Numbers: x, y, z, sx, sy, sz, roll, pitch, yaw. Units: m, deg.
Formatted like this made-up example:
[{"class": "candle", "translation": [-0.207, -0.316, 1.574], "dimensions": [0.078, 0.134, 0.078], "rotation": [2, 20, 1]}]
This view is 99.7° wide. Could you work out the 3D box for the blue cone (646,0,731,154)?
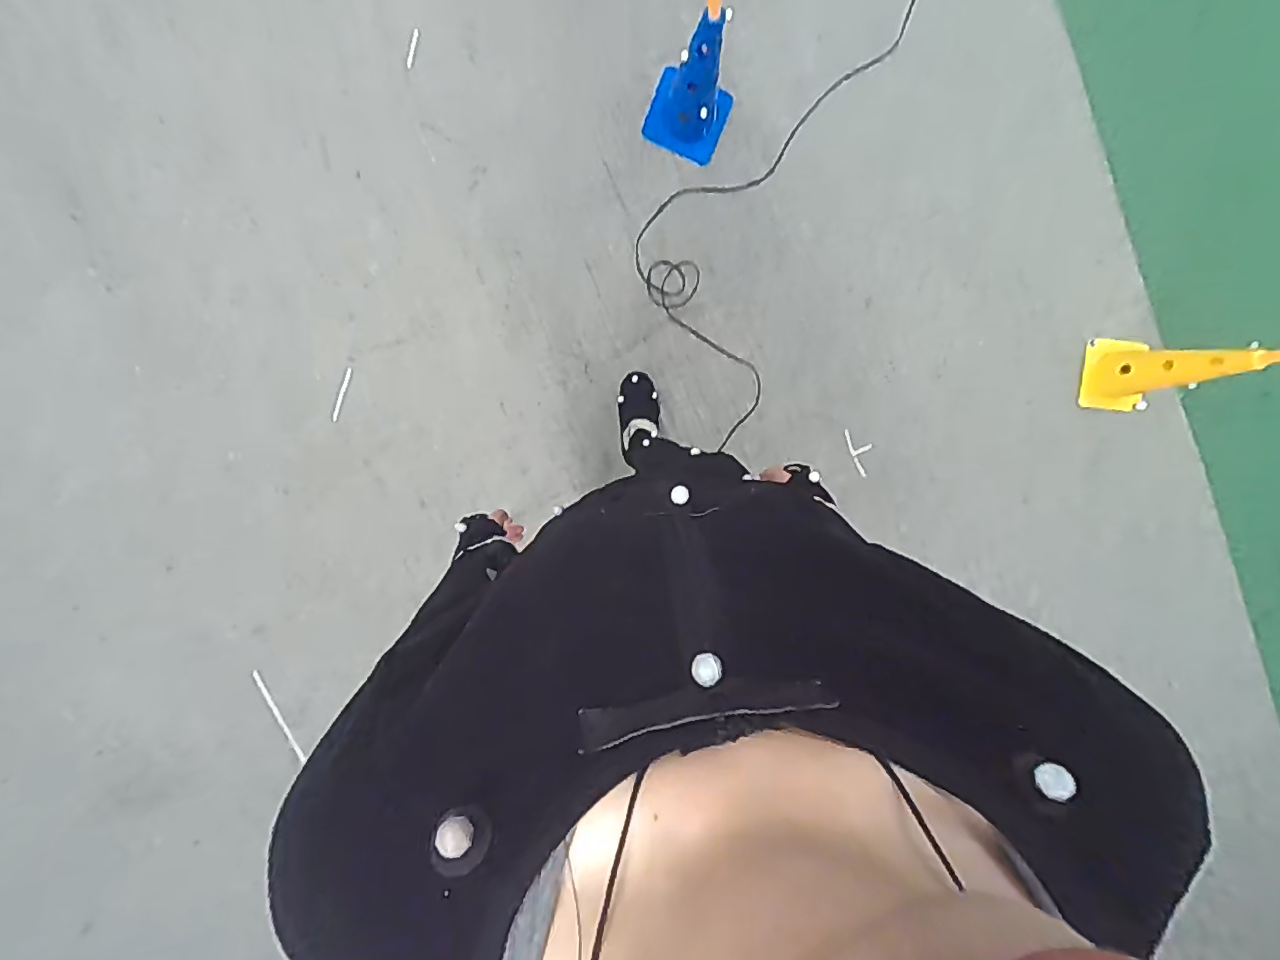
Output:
[{"class": "blue cone", "translation": [0.134, -0.941, 1.236], "dimensions": [0.193, 0.380, 0.192], "rotation": [20, 94, -5]}]
